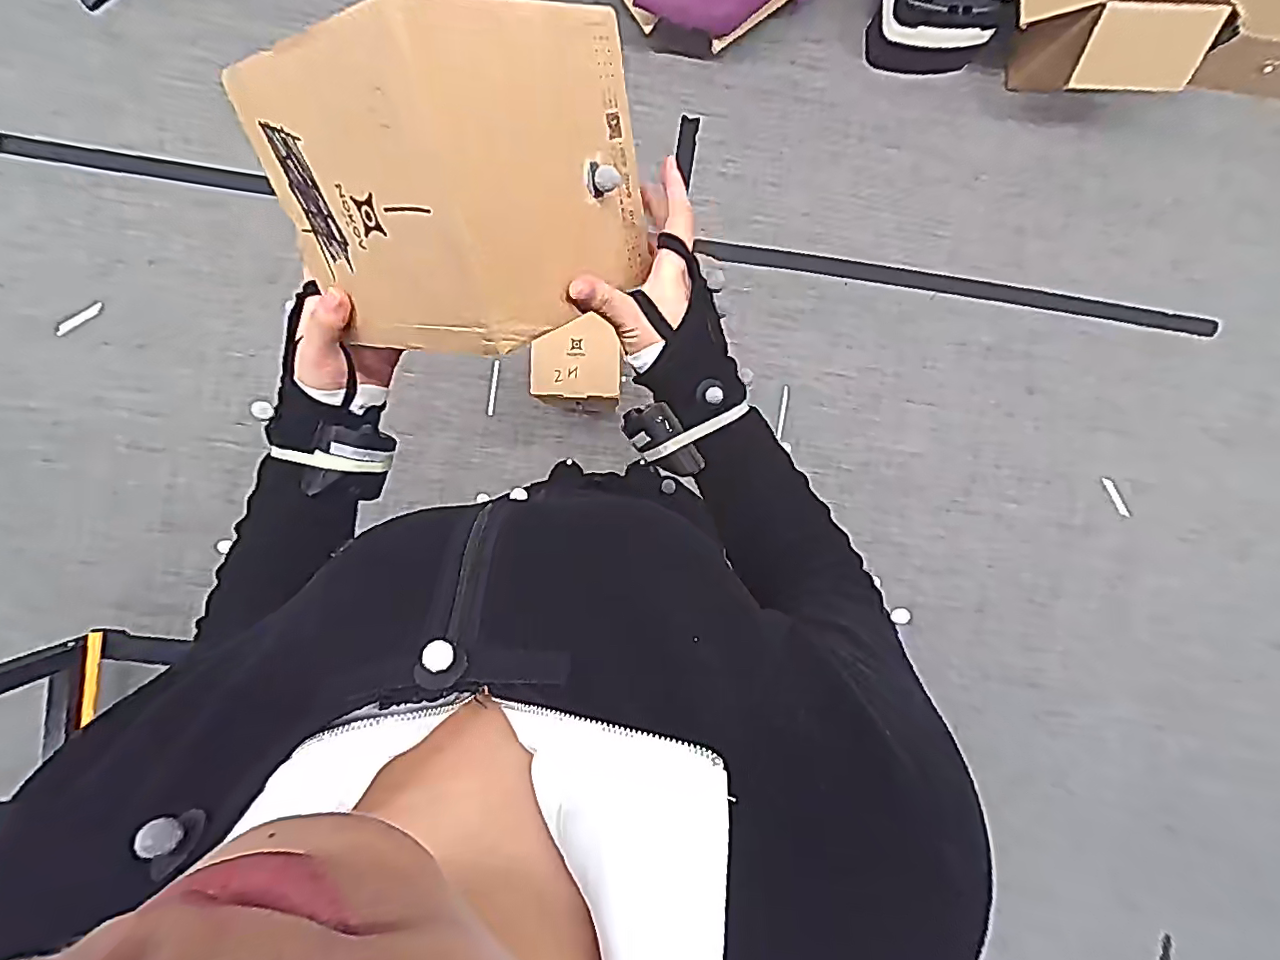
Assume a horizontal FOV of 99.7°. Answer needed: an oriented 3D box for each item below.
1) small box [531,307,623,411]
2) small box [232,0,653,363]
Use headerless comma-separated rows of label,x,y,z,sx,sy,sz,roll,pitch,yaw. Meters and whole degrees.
small box,-0.120,-0.235,1.075,0.168,0.176,0.179,2,92,-1
small box,-0.114,-0.192,0.366,0.179,0.176,0.168,12,128,32
